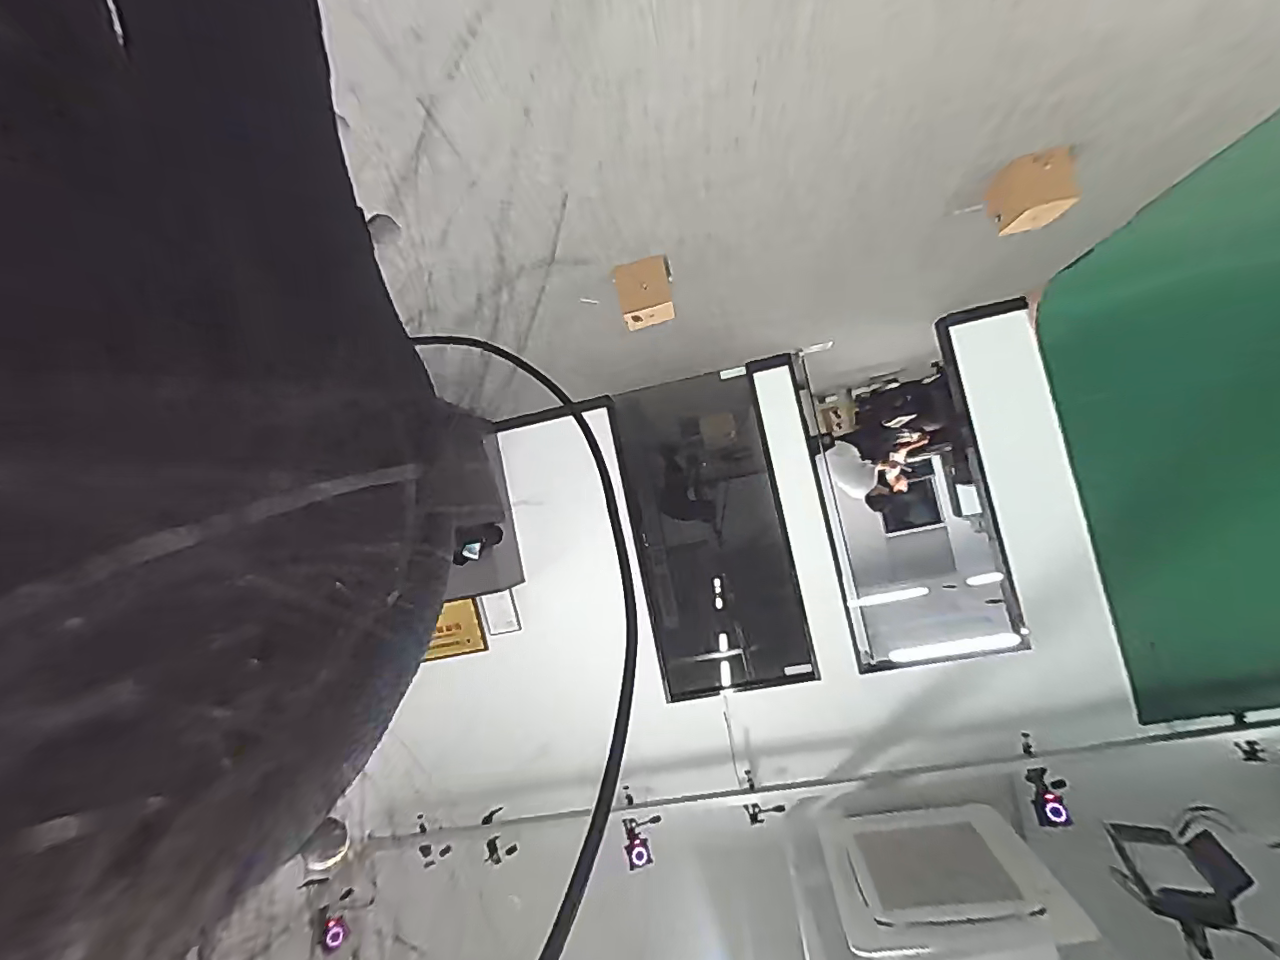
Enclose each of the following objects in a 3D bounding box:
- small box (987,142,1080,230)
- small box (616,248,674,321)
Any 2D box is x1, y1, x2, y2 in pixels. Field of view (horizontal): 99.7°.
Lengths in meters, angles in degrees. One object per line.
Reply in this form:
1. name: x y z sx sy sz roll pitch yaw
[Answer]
1. small box: 1.250 -0.940 1.734 0.168 0.176 0.179 -12 176 2
2. small box: 0.017 -0.689 1.911 0.179 0.176 0.168 -12 176 6
